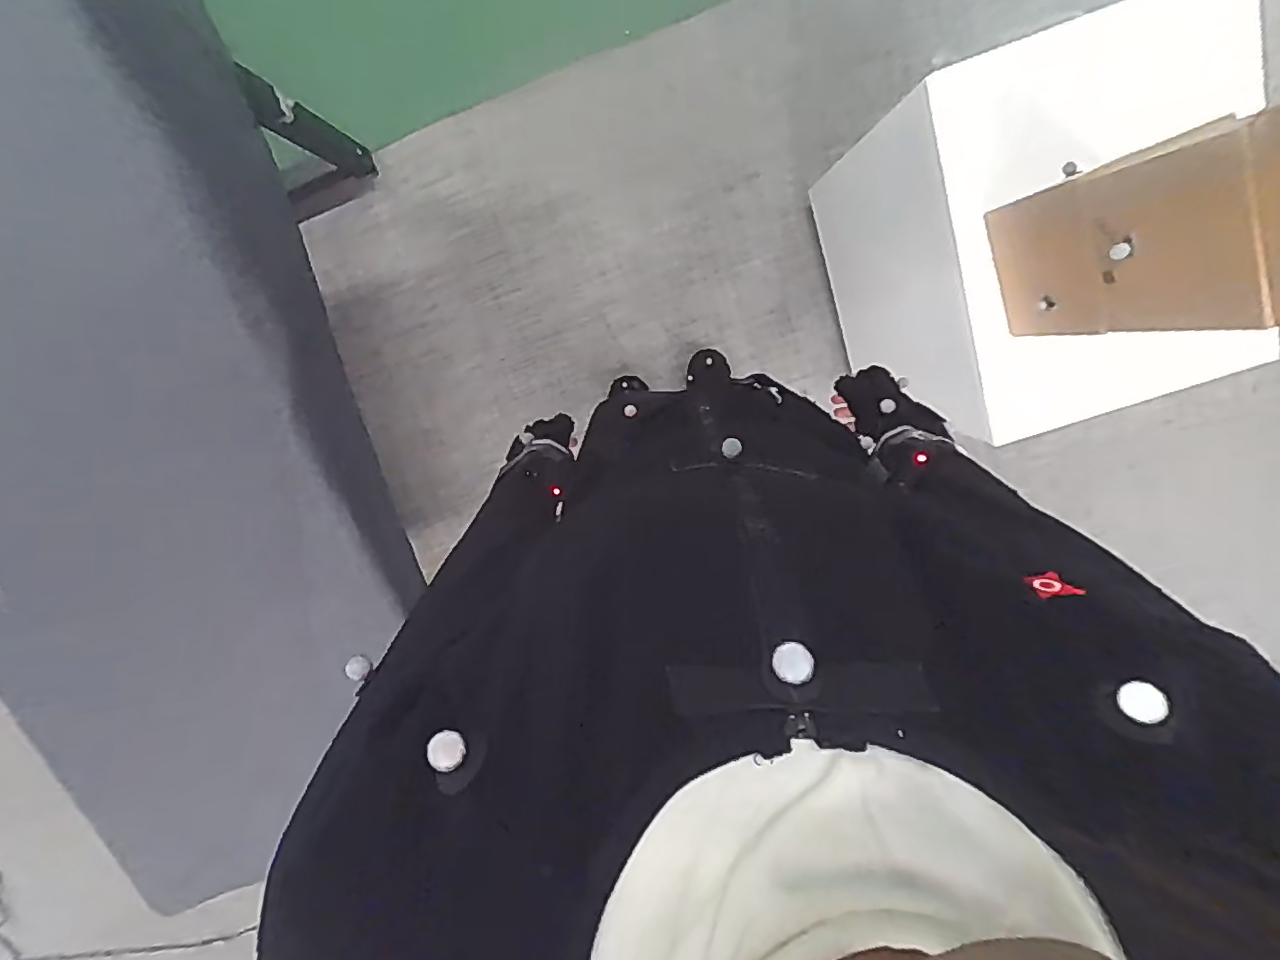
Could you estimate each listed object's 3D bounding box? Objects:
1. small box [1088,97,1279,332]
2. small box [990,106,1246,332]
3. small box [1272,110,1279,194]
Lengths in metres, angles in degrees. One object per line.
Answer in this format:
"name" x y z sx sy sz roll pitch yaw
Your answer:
"small box" 0.566 -0.246 0.486 0.179 0.176 0.168 -24 103 6
"small box" 0.562 -0.289 0.644 0.168 0.176 0.179 -22 102 7
"small box" 0.559 -0.205 0.327 0.168 0.176 0.179 -22 103 7
